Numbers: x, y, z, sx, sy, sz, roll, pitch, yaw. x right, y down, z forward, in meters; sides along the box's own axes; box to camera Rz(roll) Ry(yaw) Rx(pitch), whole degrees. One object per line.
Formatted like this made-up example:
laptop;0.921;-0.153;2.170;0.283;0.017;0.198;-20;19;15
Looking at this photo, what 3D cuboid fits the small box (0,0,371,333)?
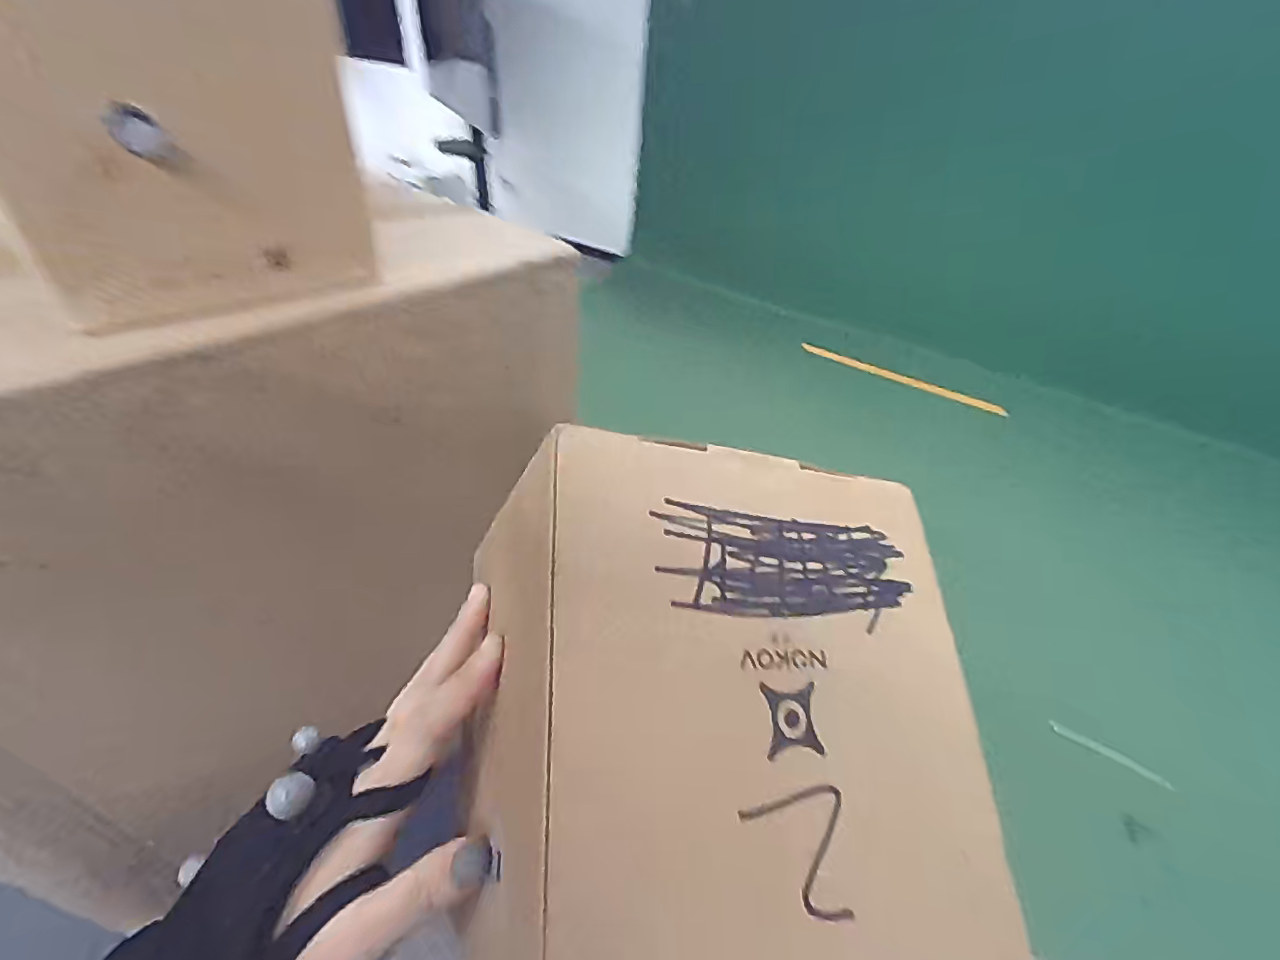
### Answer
small box;-0.290;-0.203;0.323;0.179;0.176;0.168;36;48;29
